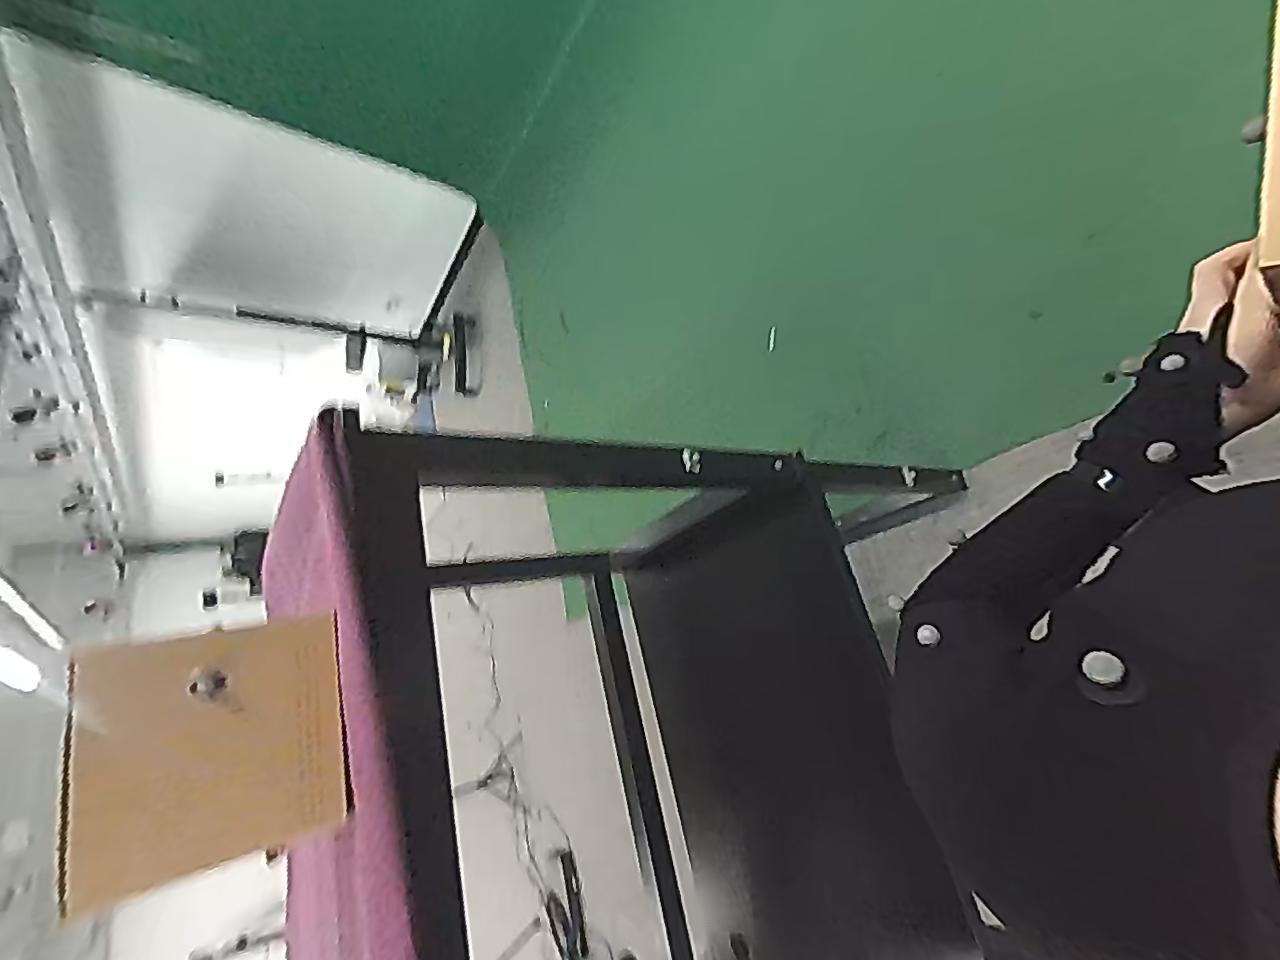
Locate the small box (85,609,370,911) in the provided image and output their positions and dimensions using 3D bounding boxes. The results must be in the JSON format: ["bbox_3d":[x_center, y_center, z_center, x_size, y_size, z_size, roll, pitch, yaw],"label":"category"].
[{"bbox_3d":[-0.349,0.217,0.475,0.168,0.176,0.179,-30,69,51],"label":"small box"}]
